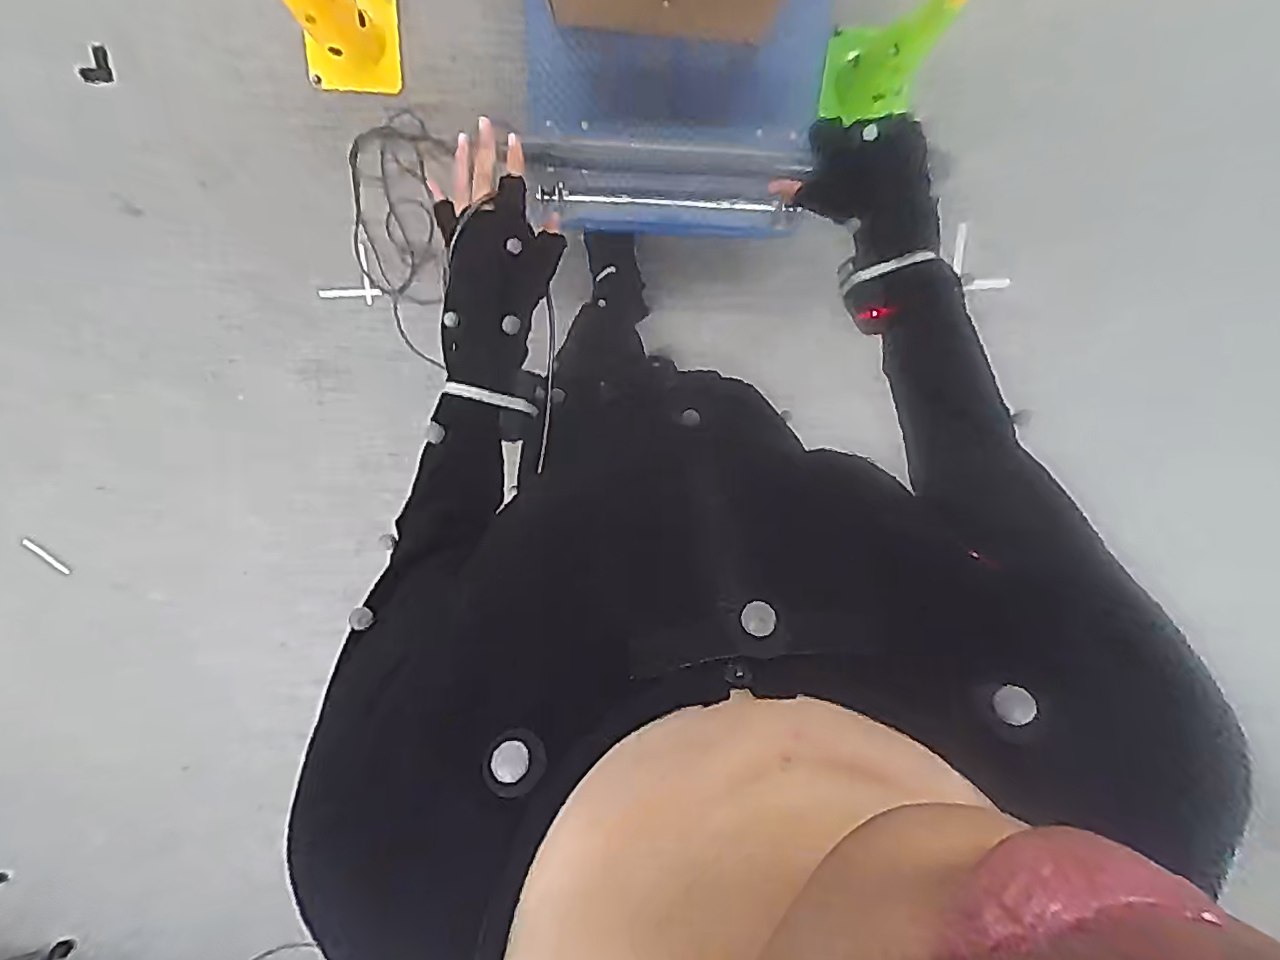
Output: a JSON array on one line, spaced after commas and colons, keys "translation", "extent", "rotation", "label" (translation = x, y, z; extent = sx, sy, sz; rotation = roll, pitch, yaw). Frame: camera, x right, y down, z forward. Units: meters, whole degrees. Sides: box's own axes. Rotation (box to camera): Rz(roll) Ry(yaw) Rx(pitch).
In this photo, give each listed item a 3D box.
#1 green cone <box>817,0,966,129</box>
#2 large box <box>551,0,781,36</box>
[{"translation": [0.512, -0.854, 1.047], "extent": [0.202, 0.368, 0.200], "rotation": [3, 108, -4], "label": "green cone"}, {"translation": [0.048, -0.956, 0.851], "extent": [0.408, 0.320, 0.320], "rotation": [3, 109, -2], "label": "large box"}]
